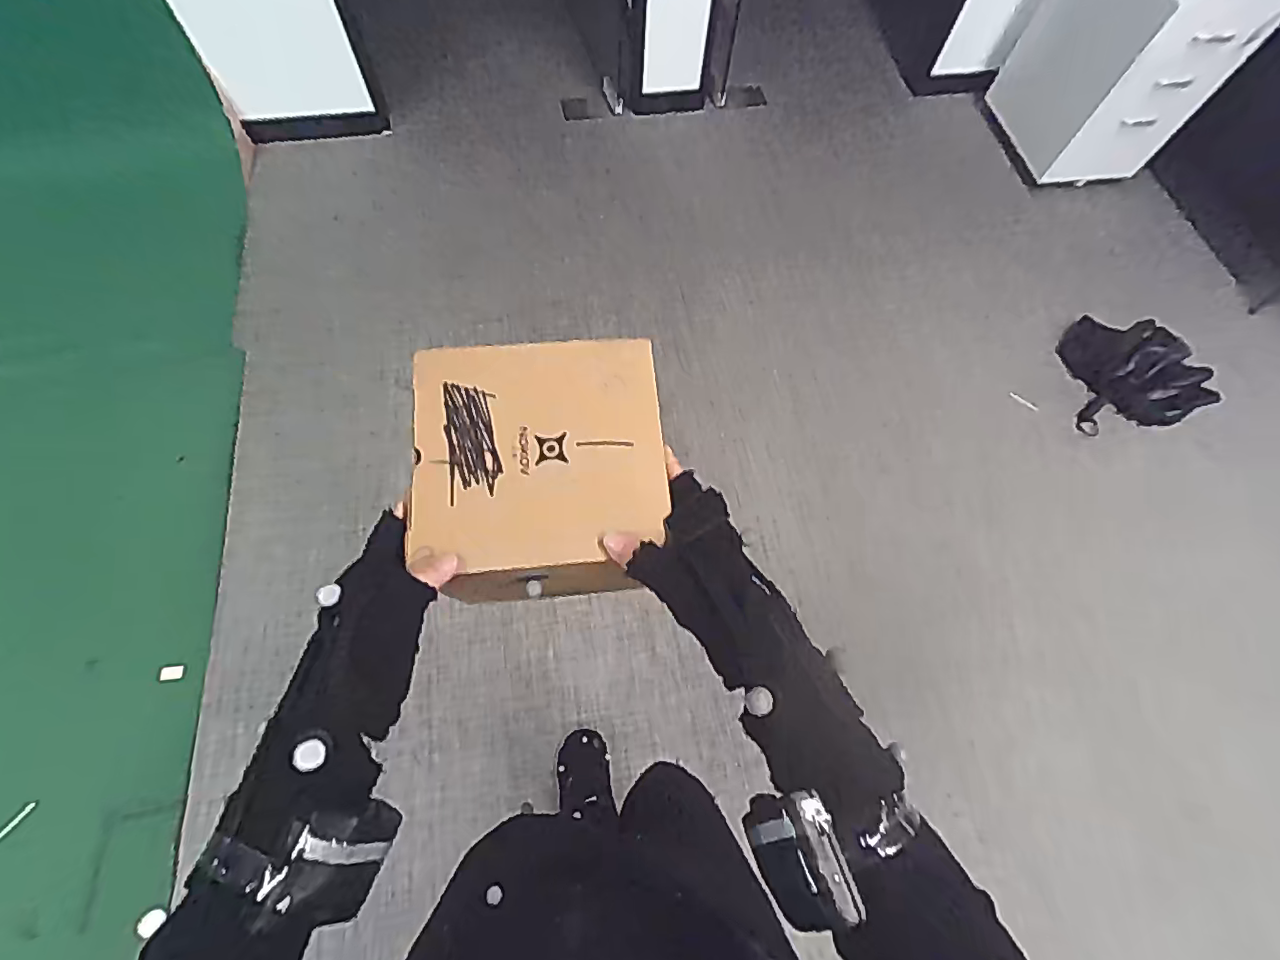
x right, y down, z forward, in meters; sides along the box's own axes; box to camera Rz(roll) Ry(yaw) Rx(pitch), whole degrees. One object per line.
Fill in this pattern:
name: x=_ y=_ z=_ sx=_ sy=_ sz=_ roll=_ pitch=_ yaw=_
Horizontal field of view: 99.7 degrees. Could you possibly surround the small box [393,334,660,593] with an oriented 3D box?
small box: x=-0.081 y=-0.002 z=0.450 sx=0.179 sy=0.176 sz=0.168 roll=-4 pitch=72 yaw=-5
